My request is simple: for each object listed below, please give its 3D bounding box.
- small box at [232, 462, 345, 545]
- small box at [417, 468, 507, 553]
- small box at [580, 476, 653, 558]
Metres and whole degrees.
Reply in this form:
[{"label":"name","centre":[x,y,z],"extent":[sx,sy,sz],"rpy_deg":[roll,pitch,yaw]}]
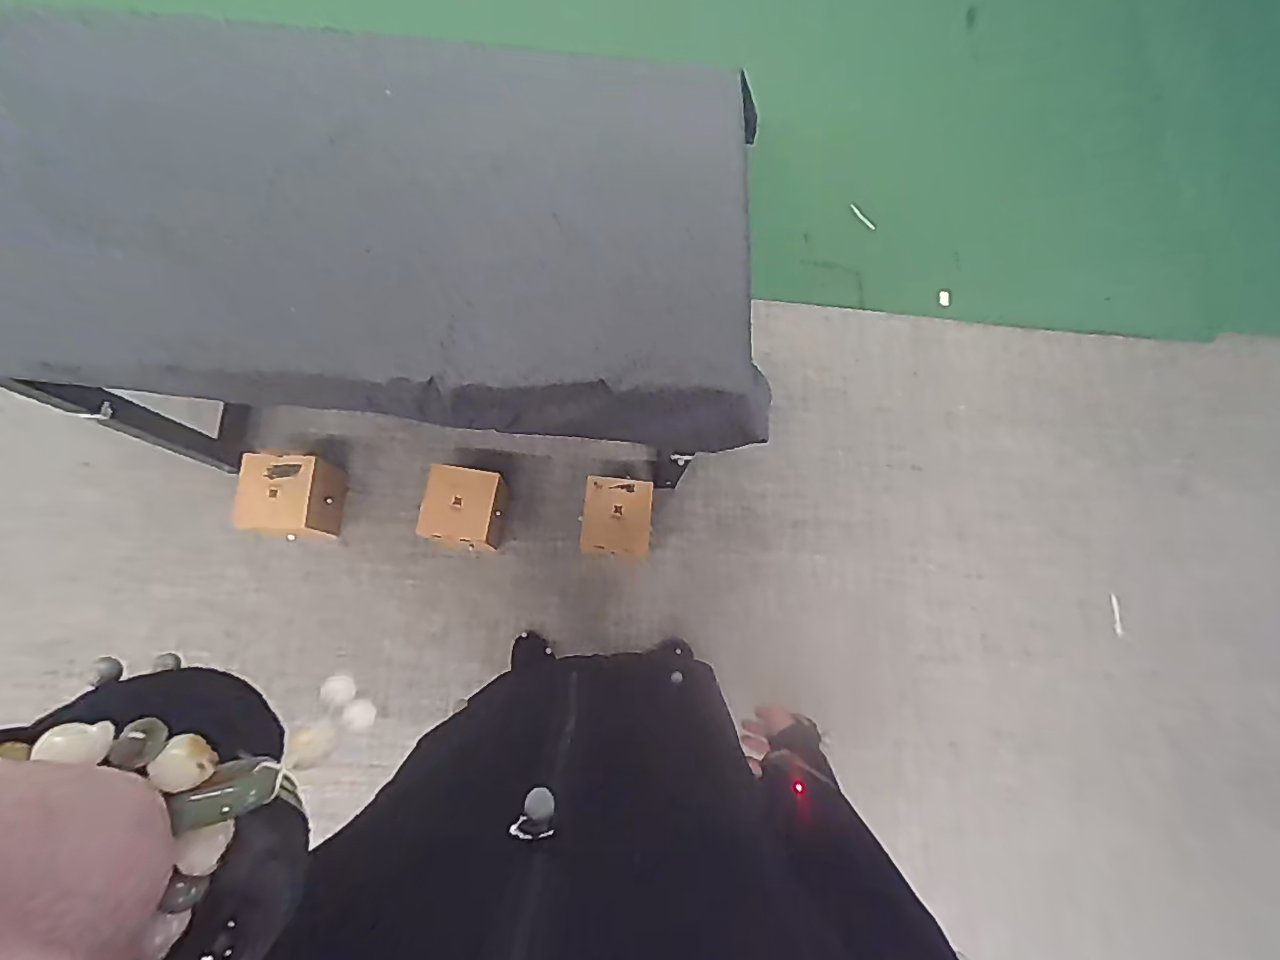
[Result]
[{"label":"small box","centre":[-0.850,0.062,1.328],"extent":[0.168,0.176,0.179],"rpy_deg":[1,78,-4]},{"label":"small box","centre":[-0.438,0.084,1.357],"extent":[0.168,0.176,0.179],"rpy_deg":[7,75,-4]},{"label":"small box","centre":[-0.059,0.101,1.382],"extent":[0.168,0.176,0.179],"rpy_deg":[5,75,-3]}]
